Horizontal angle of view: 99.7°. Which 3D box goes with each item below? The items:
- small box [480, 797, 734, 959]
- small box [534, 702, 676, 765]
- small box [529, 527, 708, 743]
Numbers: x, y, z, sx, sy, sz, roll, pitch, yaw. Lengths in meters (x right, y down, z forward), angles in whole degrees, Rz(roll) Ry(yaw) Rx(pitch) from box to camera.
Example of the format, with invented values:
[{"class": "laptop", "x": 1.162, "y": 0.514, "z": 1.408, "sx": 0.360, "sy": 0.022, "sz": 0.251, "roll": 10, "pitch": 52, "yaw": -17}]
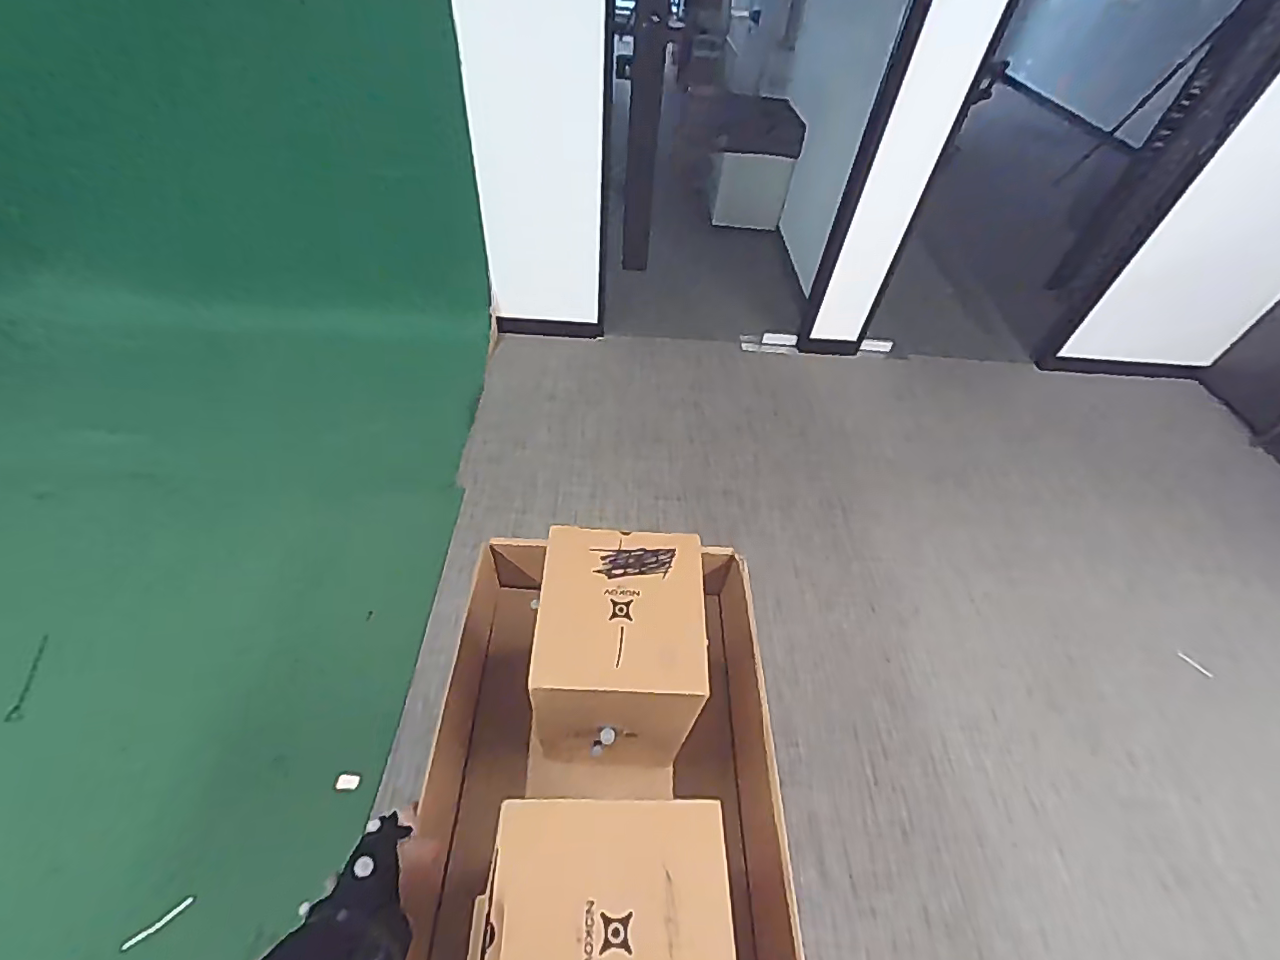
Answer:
[{"class": "small box", "x": -0.027, "y": 0.367, "z": 0.437, "sx": 0.179, "sy": 0.176, "sz": 0.168, "roll": 2, "pitch": 49, "yaw": -5}, {"class": "small box", "x": -0.037, "y": 0.275, "z": 0.729, "sx": 0.179, "sy": 0.176, "sz": 0.168, "roll": 4, "pitch": 51, "yaw": -2}, {"class": "small box", "x": -0.024, "y": 0.174, "z": 0.599, "sx": 0.168, "sy": 0.176, "sz": 0.179, "roll": 4, "pitch": 51, "yaw": -3}]
